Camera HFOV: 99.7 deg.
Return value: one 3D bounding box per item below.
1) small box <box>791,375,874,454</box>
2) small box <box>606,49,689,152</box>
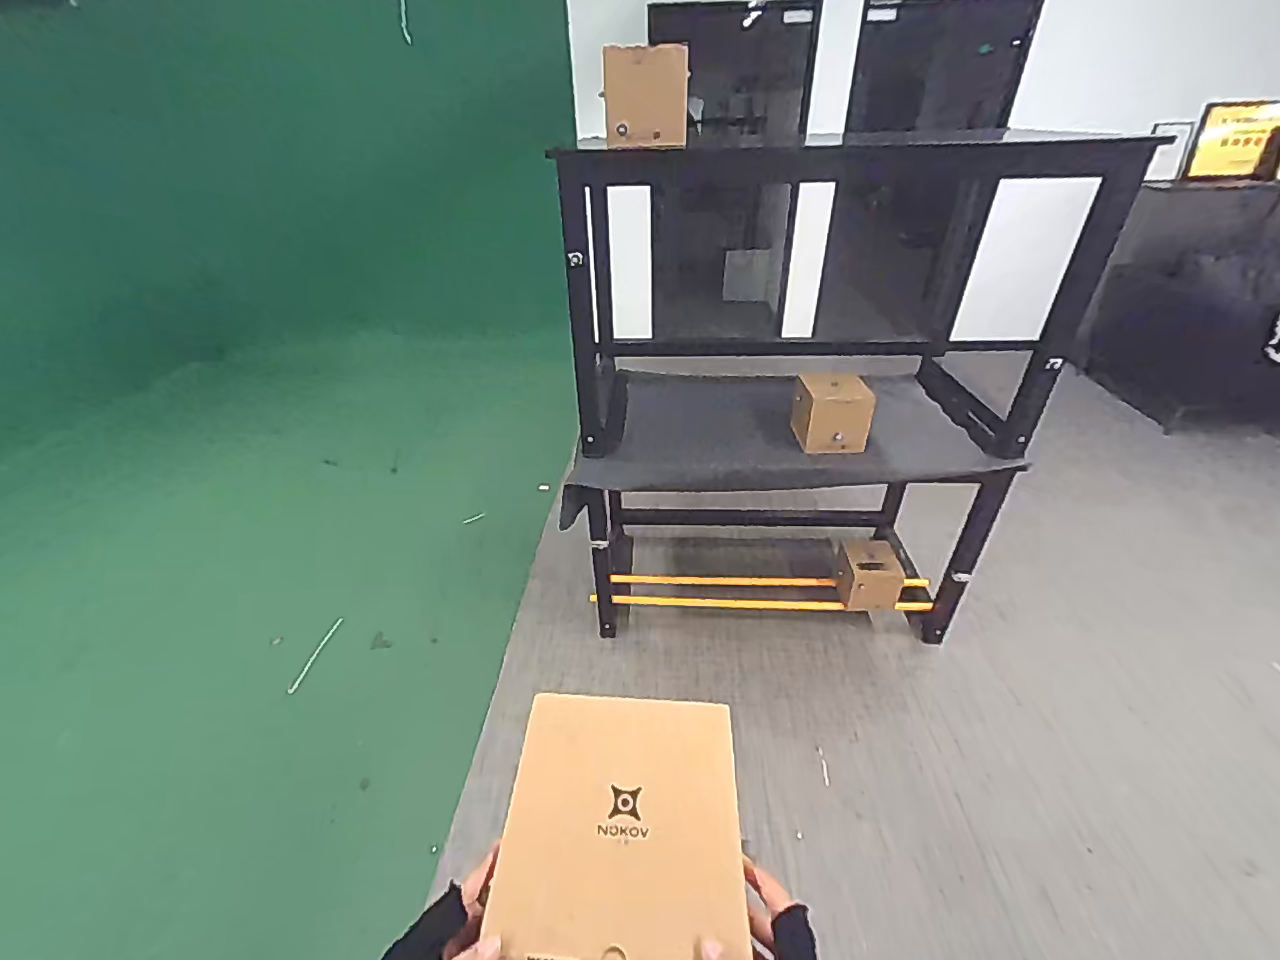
[{"bbox_3d":[0.536,-0.188,1.532,0.168,0.176,0.179,-1,33,1],"label":"small box"},{"bbox_3d":[0.015,-0.805,1.156,0.168,0.176,0.179,-2,33,-2],"label":"small box"}]
